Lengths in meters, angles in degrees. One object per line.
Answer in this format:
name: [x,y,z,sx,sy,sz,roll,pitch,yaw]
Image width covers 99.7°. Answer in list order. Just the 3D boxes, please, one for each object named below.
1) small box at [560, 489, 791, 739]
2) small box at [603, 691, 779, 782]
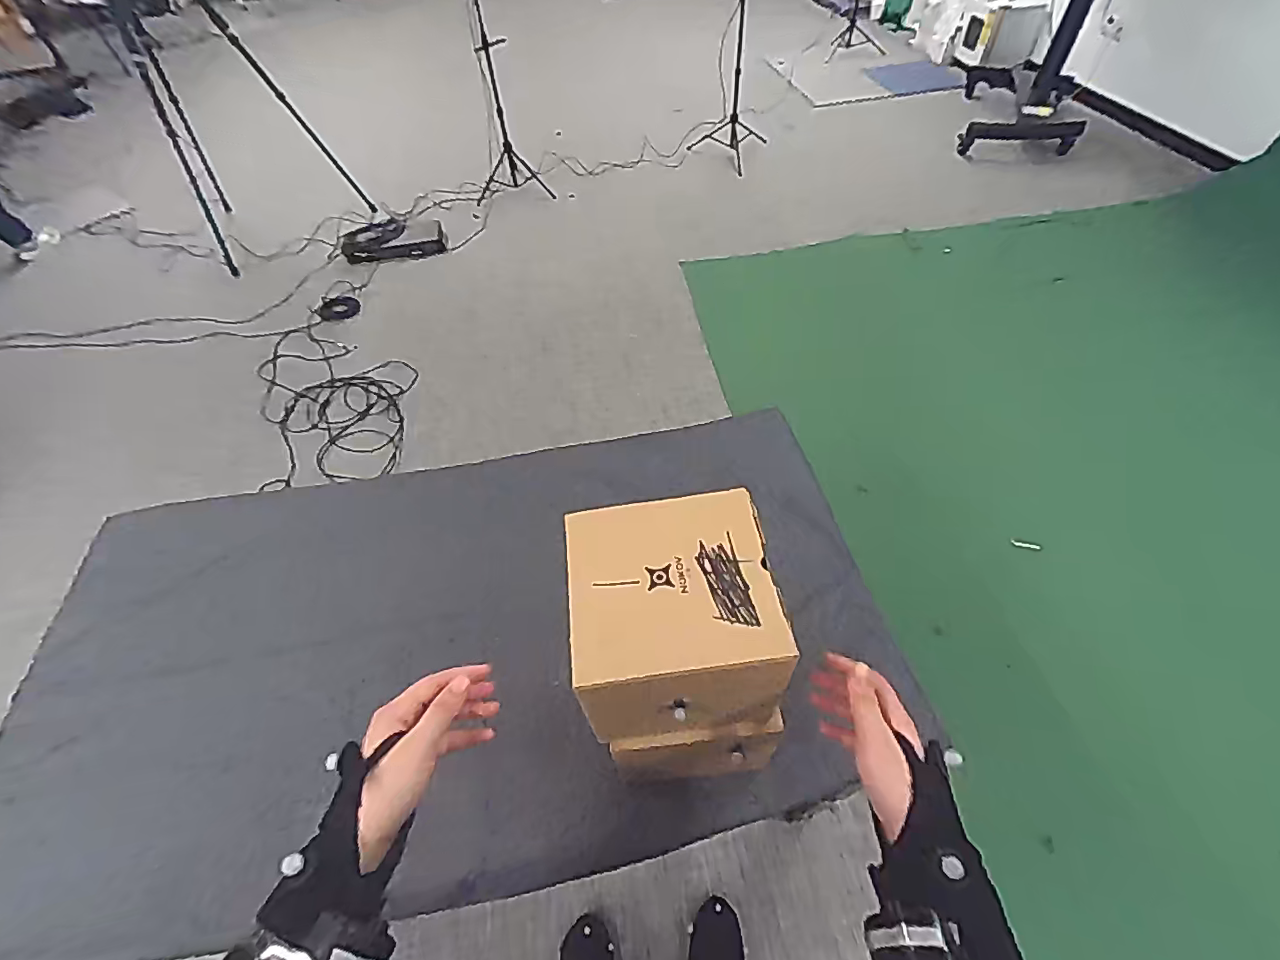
small box: [0.024,0.131,0.514,0.179,0.176,0.168,-8,51,-1]
small box: [0.047,0.241,0.635,0.179,0.176,0.168,-6,51,-1]
